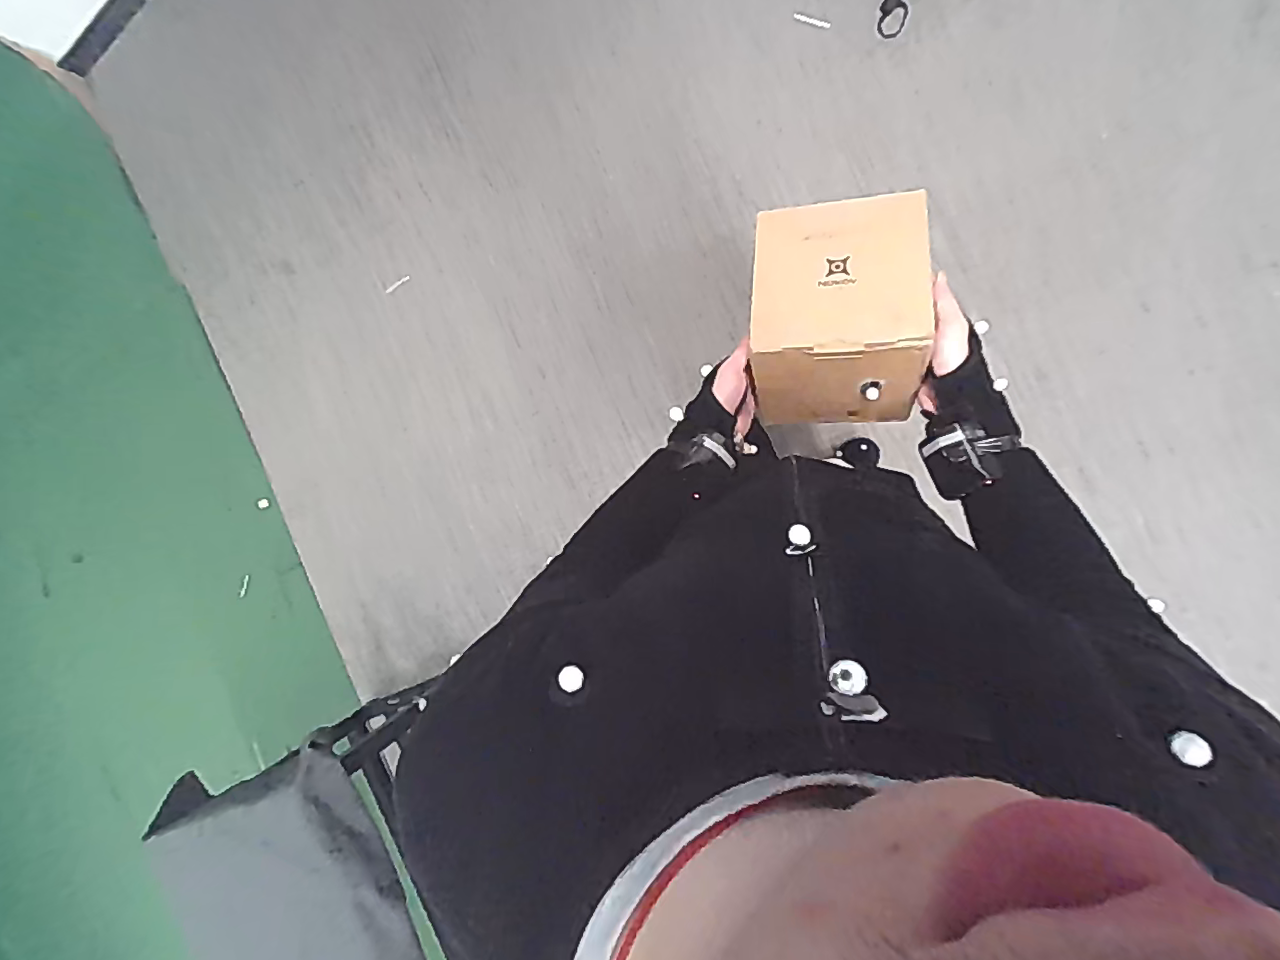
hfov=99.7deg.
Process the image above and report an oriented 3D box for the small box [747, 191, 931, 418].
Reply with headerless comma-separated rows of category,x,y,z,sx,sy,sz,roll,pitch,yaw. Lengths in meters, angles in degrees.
small box,0.213,-0.179,0.602,0.168,0.176,0.179,1,69,16
